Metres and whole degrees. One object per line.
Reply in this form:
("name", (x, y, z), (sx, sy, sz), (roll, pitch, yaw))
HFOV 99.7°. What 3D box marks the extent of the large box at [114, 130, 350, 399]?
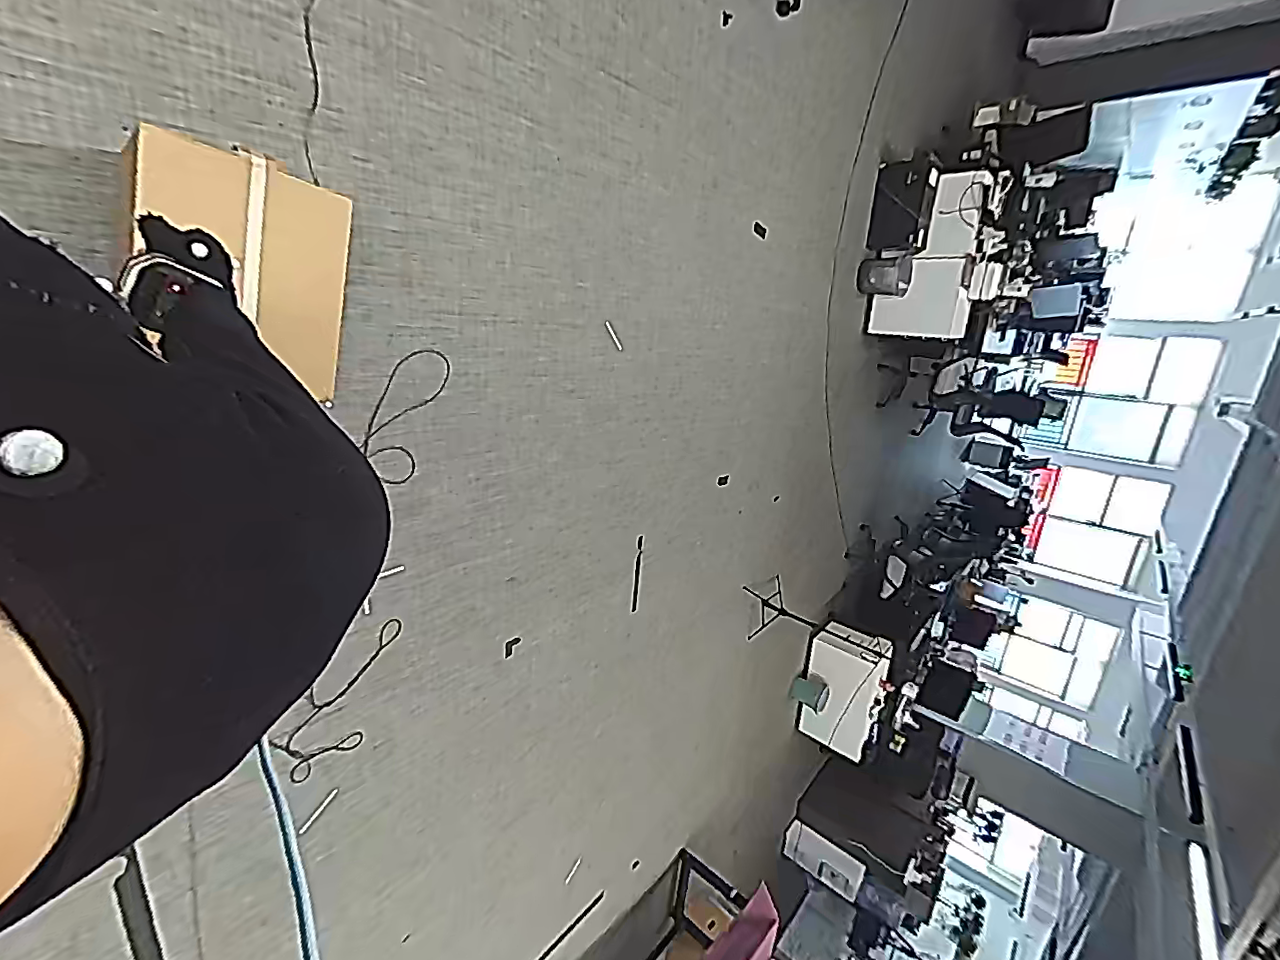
("large box", (-0.821, -0.400, 1.085), (0.320, 0.320, 0.408), (1, 104, -49))
